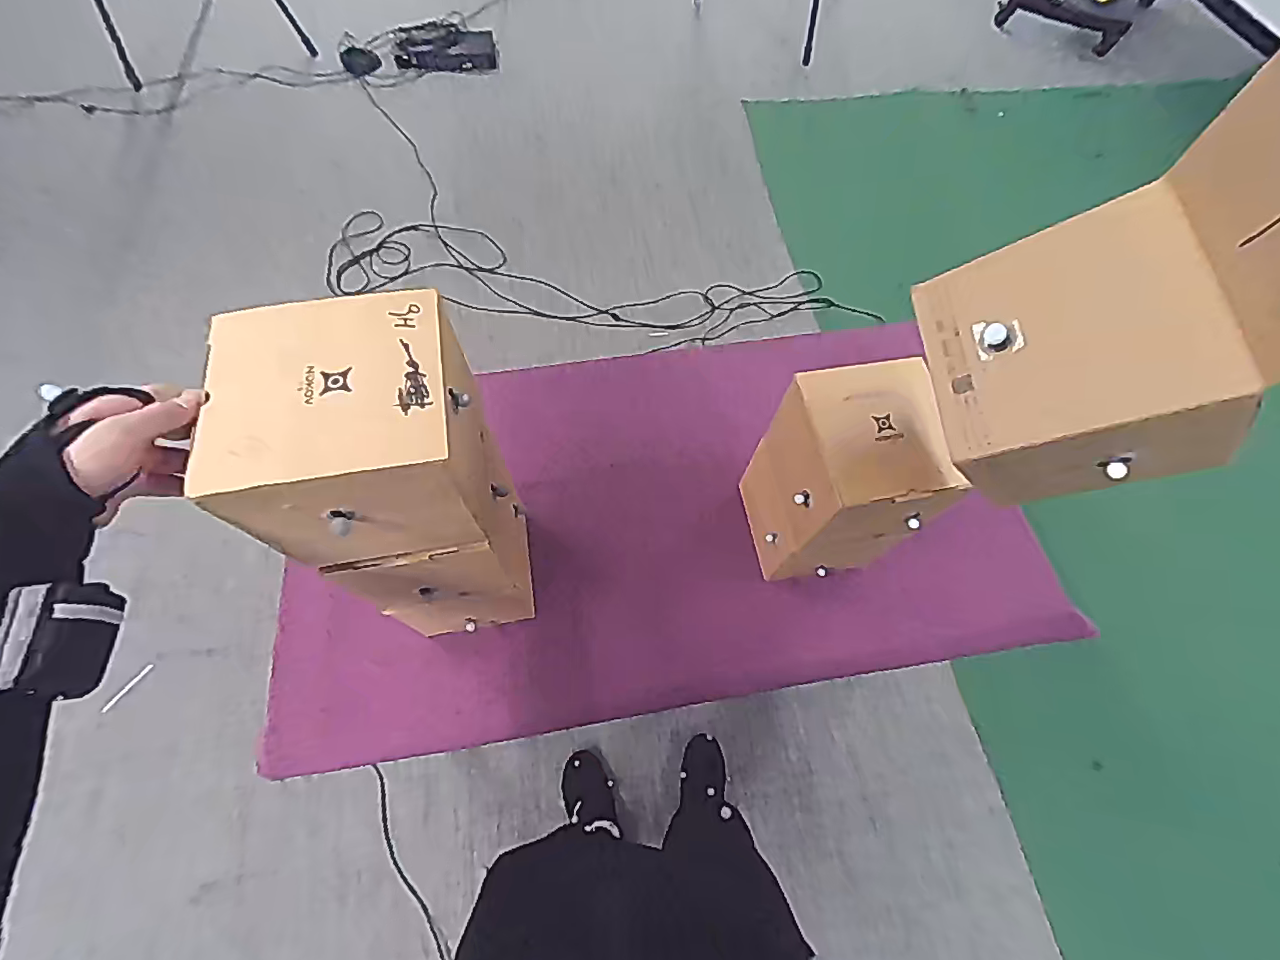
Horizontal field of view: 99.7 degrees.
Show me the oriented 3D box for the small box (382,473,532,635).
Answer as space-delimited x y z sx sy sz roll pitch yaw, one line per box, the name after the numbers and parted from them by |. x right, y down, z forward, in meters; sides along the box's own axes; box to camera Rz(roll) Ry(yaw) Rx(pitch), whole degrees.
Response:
-0.256 0.112 0.785 0.168 0.176 0.179 -9 65 -6 | small box

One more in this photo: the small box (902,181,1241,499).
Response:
0.342 -0.091 0.452 0.176 0.179 0.168 -20 63 38 | small box

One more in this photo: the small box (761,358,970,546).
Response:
0.268 -0.025 0.685 0.168 0.176 0.179 -8 64 -6 | small box

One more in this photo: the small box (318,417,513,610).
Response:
-0.251 0.039 0.640 0.168 0.176 0.179 -9 65 -7 | small box

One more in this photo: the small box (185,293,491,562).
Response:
-0.245 -0.037 0.485 0.179 0.176 0.168 -10 65 -6 | small box
